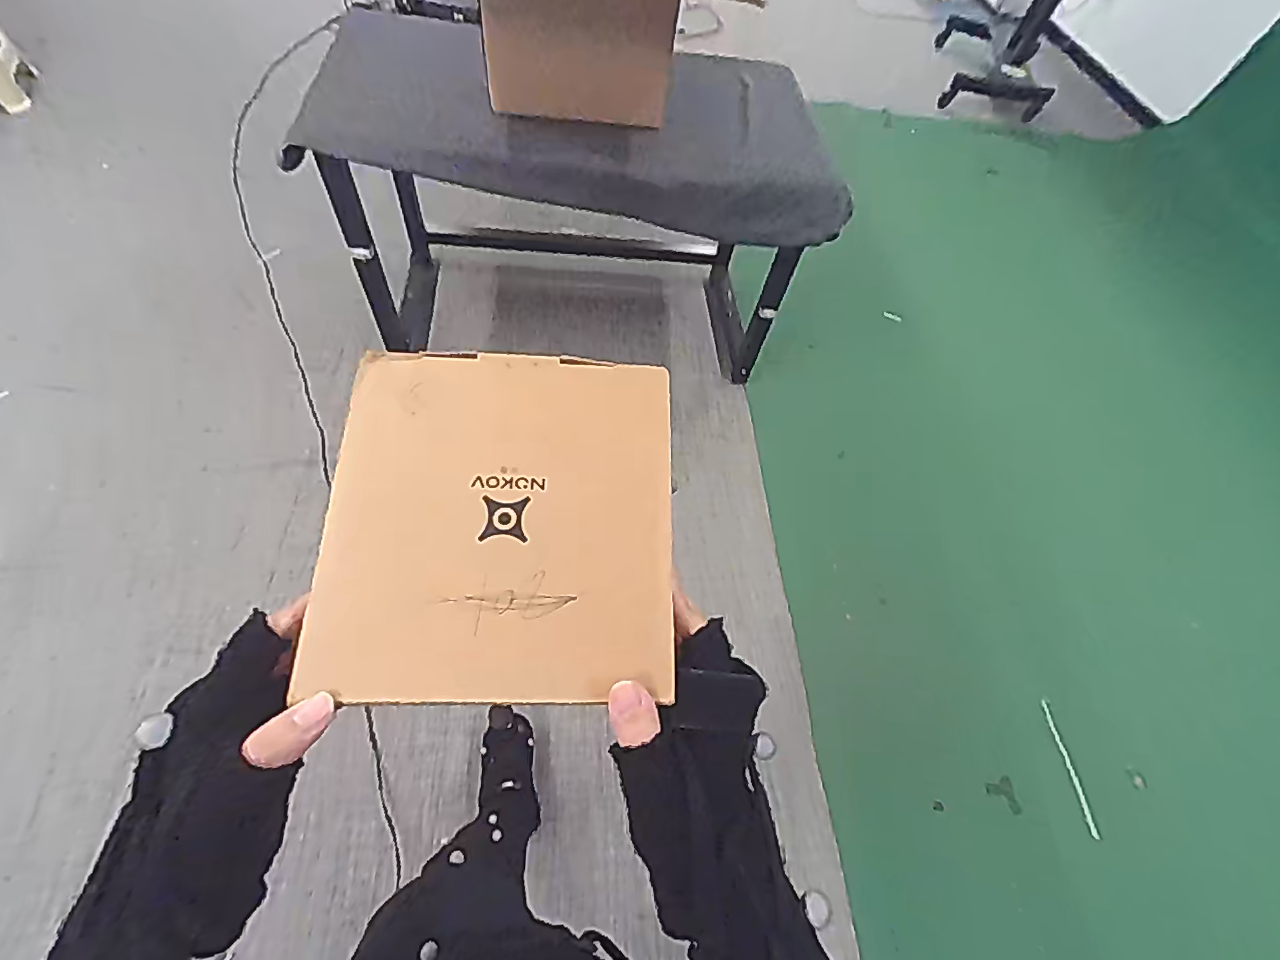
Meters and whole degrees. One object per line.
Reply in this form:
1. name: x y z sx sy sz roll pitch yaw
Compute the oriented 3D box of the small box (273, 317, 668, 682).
1. small box: -0.076 0.028 0.330 0.168 0.176 0.179 2 71 -5
